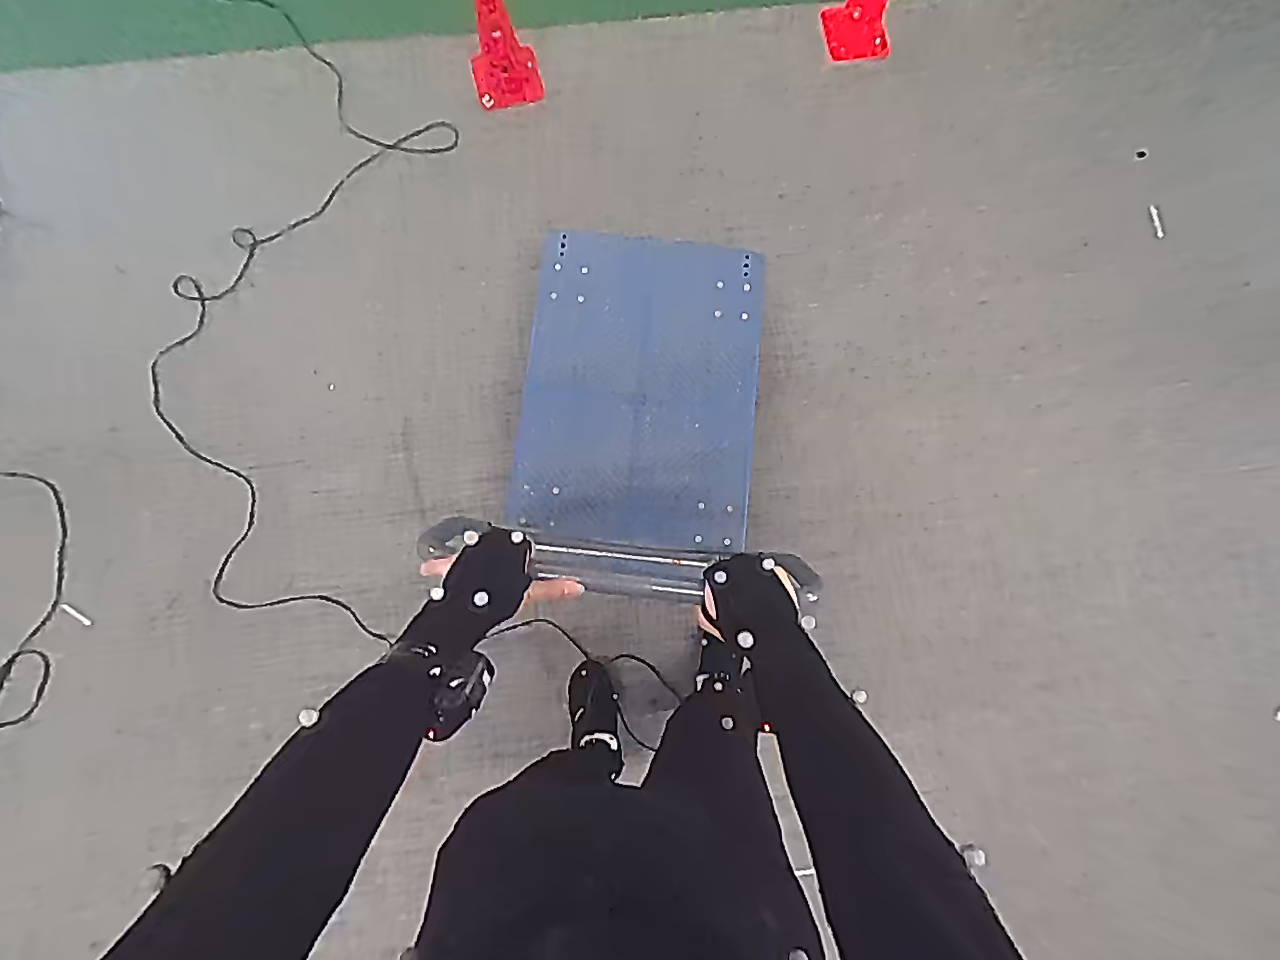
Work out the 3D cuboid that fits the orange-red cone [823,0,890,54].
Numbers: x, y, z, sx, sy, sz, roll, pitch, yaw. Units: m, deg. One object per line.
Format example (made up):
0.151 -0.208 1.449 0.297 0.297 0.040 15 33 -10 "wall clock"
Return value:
0.693 -1.471 1.552 0.198 0.360 0.199 -6 79 -3 "orange-red cone"
